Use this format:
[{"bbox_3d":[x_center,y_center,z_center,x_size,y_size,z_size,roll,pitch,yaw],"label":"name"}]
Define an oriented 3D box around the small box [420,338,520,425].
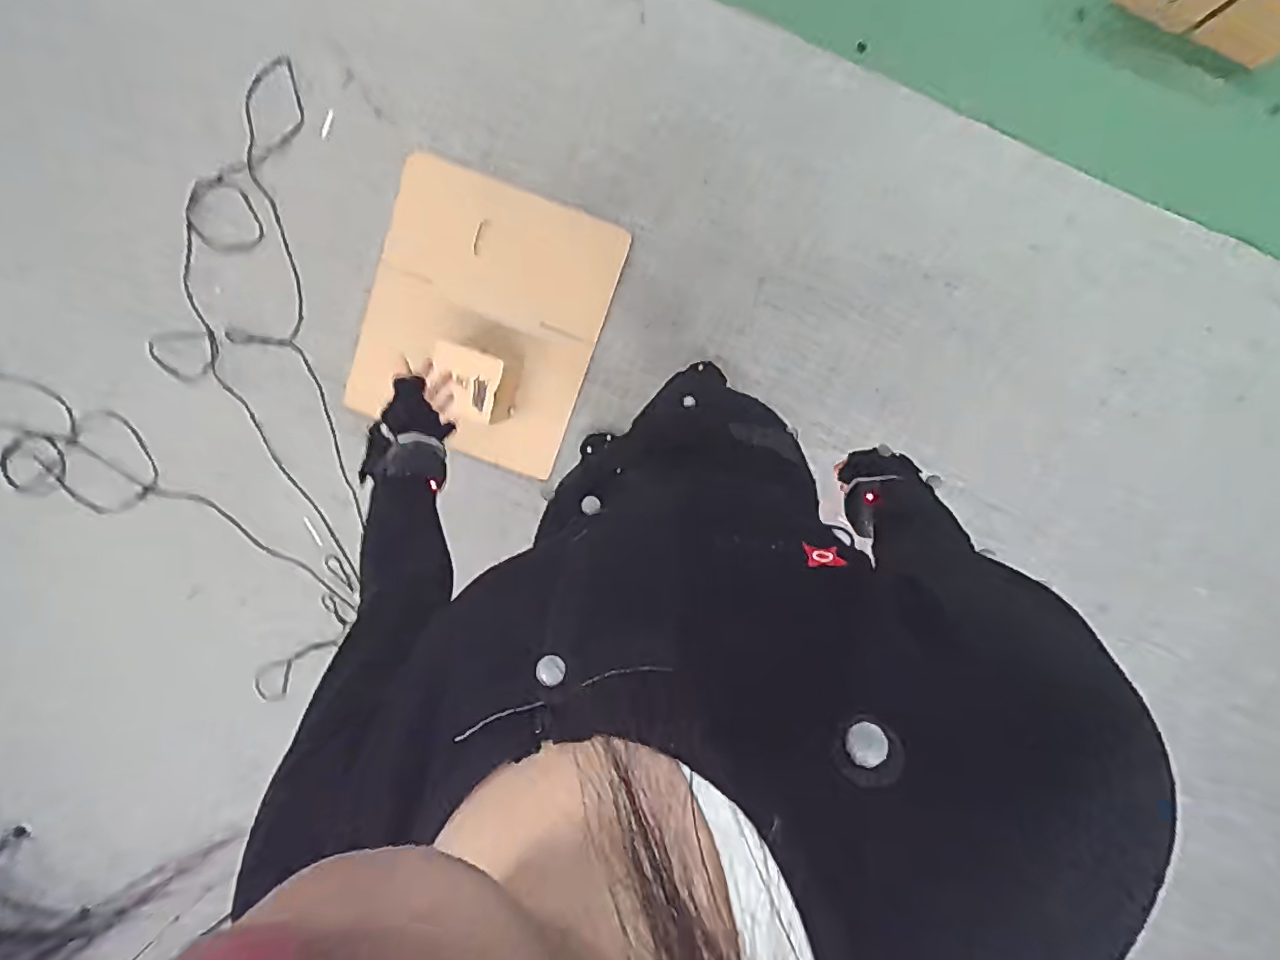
[{"bbox_3d":[-0.423,-0.253,1.374,0.179,0.176,0.168,19,102,0],"label":"small box"}]
